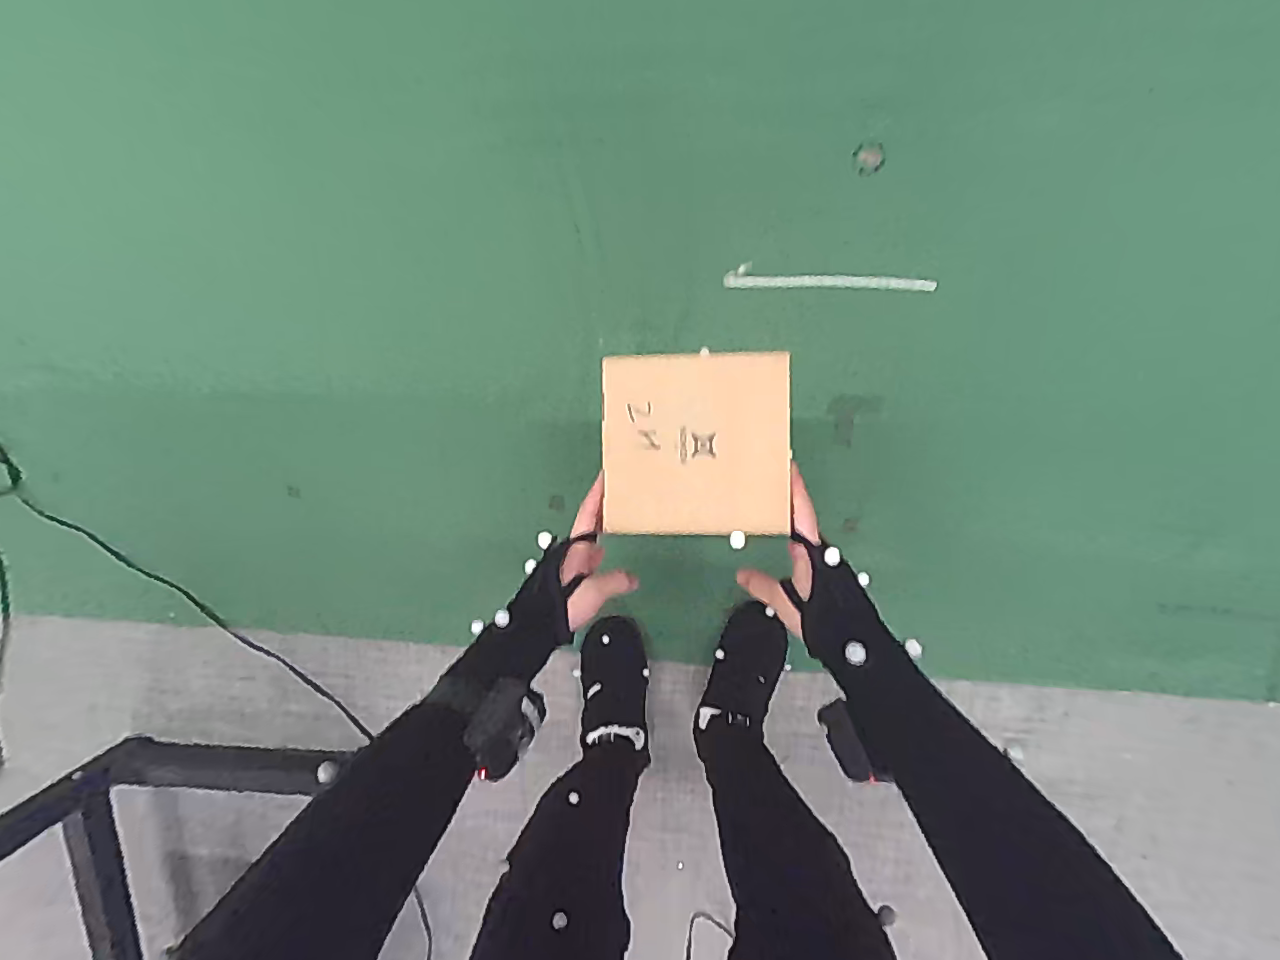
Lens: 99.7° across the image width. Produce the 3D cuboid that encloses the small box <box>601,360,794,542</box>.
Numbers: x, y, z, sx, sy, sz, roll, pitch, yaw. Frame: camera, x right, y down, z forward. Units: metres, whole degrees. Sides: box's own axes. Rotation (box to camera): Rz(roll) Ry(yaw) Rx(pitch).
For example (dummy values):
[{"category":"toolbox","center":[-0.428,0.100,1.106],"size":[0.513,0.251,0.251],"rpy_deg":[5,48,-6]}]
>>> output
[{"category":"small box","center":[0.059,-0.026,0.570],"size":[0.179,0.176,0.168],"rpy_deg":[0,88,7]}]
